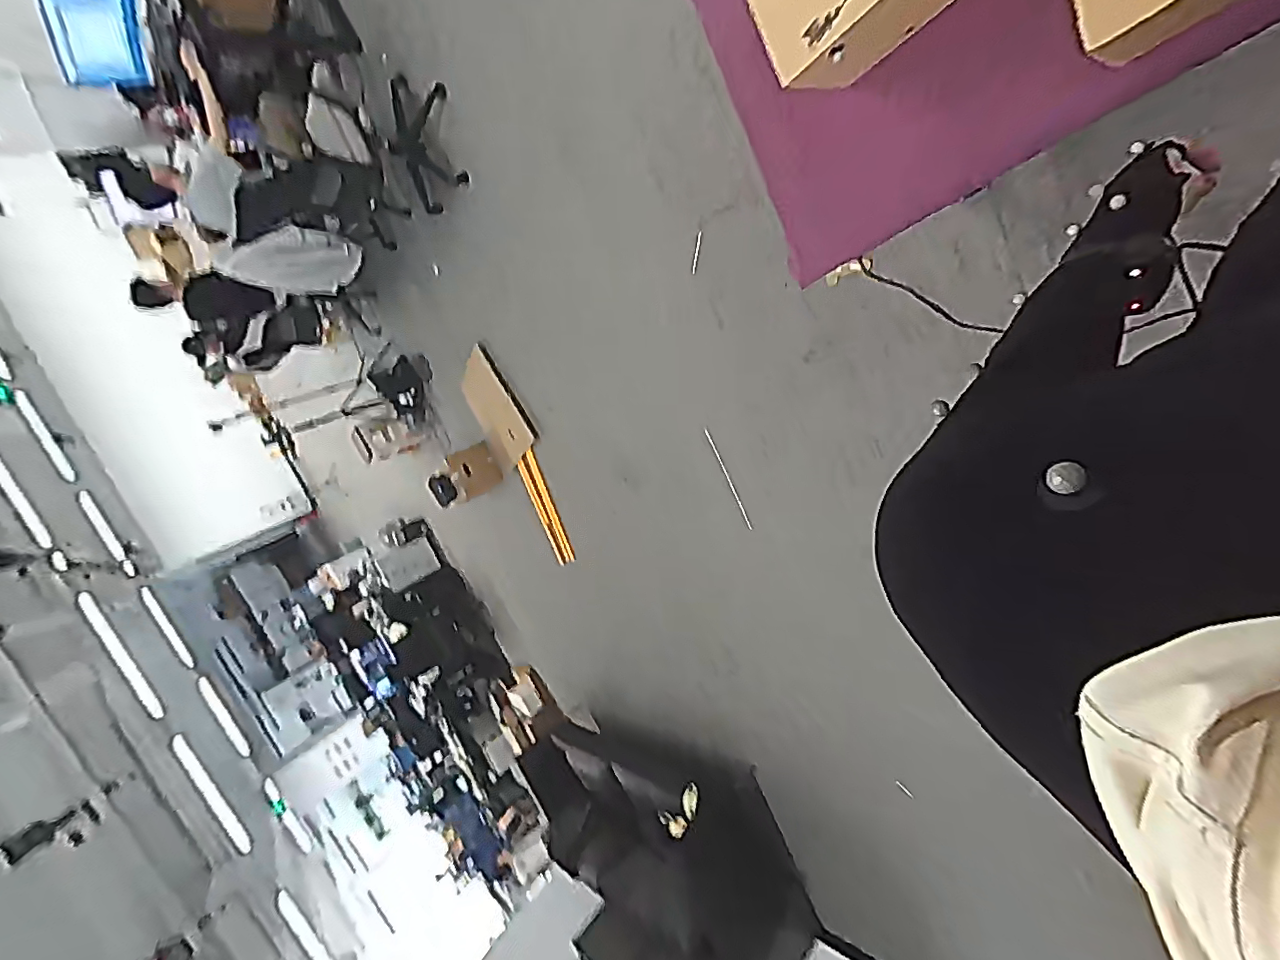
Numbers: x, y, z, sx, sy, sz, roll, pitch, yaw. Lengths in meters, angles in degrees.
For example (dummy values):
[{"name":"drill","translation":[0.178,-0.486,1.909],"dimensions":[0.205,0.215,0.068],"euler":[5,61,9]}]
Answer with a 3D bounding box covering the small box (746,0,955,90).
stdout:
[{"name":"small box","translation":[0.247,-0.609,0.654],"dimensions":[0.168,0.176,0.179],"euler":[-14,103,54]}]
